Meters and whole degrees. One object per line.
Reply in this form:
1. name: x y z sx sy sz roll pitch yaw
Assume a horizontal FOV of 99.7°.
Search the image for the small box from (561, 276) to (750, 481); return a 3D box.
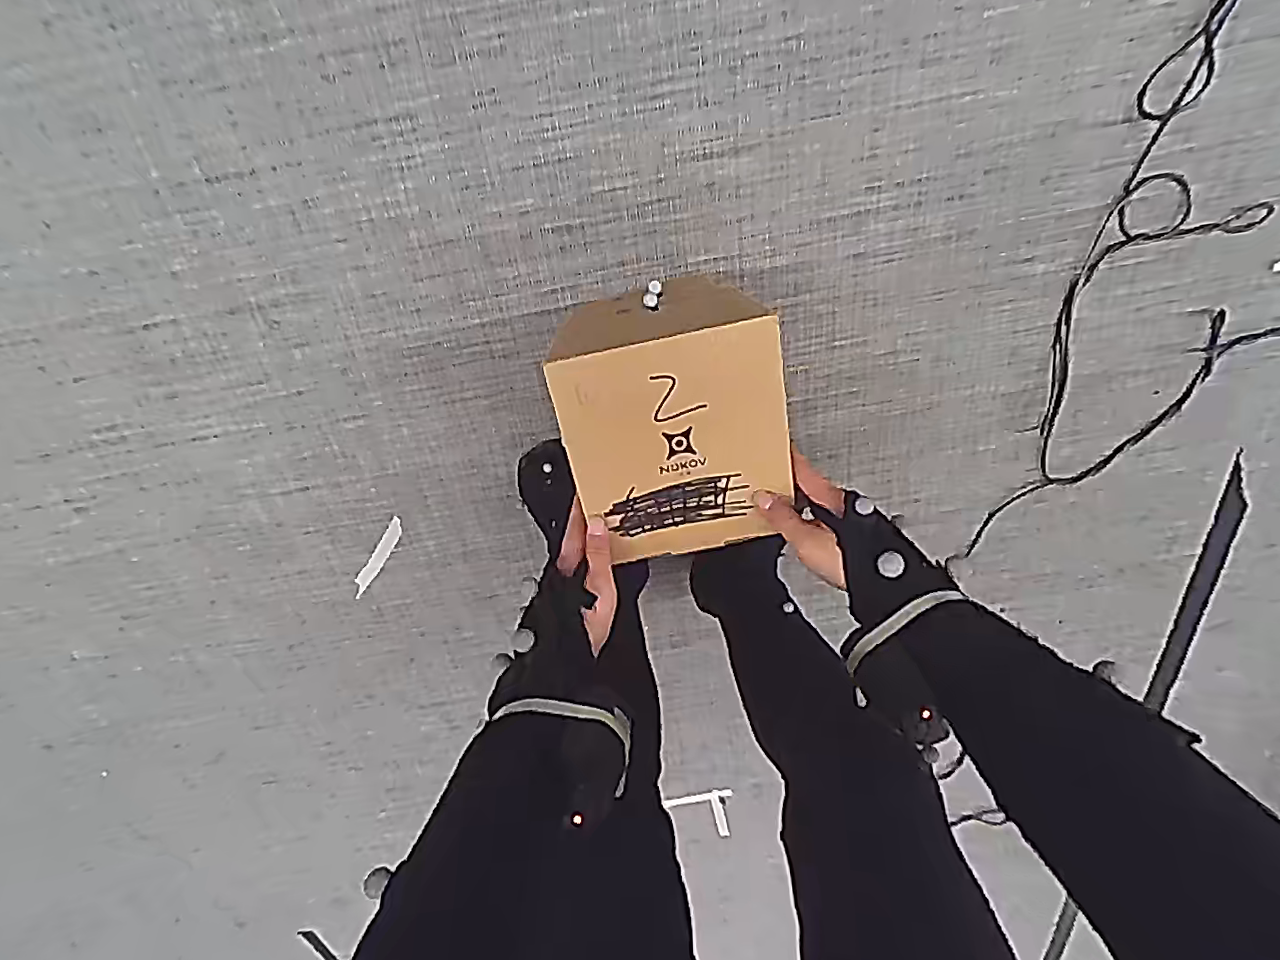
1. small box: 0.015 -0.127 0.625 0.168 0.176 0.179 -15 117 4
